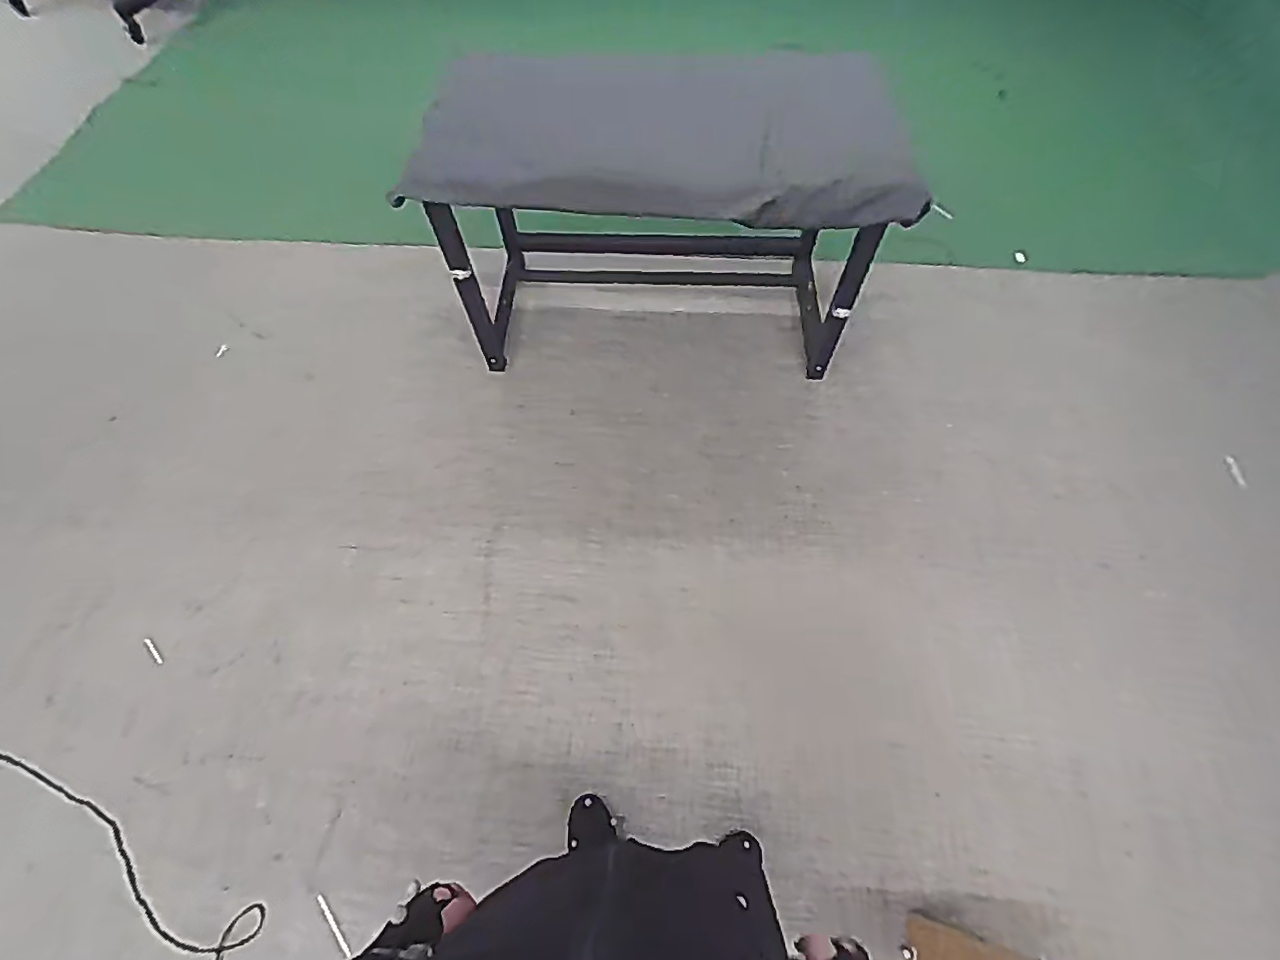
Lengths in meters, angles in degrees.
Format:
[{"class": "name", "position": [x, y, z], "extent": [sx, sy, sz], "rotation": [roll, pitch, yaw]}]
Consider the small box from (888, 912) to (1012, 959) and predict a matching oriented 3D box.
[{"class": "small box", "position": [0.628, 1.018, 1.102], "extent": [0.179, 0.176, 0.168], "rotation": [13, 61, 8]}]

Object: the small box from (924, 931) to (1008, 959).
[{"class": "small box", "position": [0.629, 0.941, 0.957], "extent": [0.179, 0.176, 0.168], "rotation": [15, 61, 8]}]

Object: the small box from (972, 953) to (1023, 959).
[{"class": "small box", "position": [0.628, 0.852, 0.820], "extent": [0.179, 0.176, 0.168], "rotation": [7, 61, 3]}]
